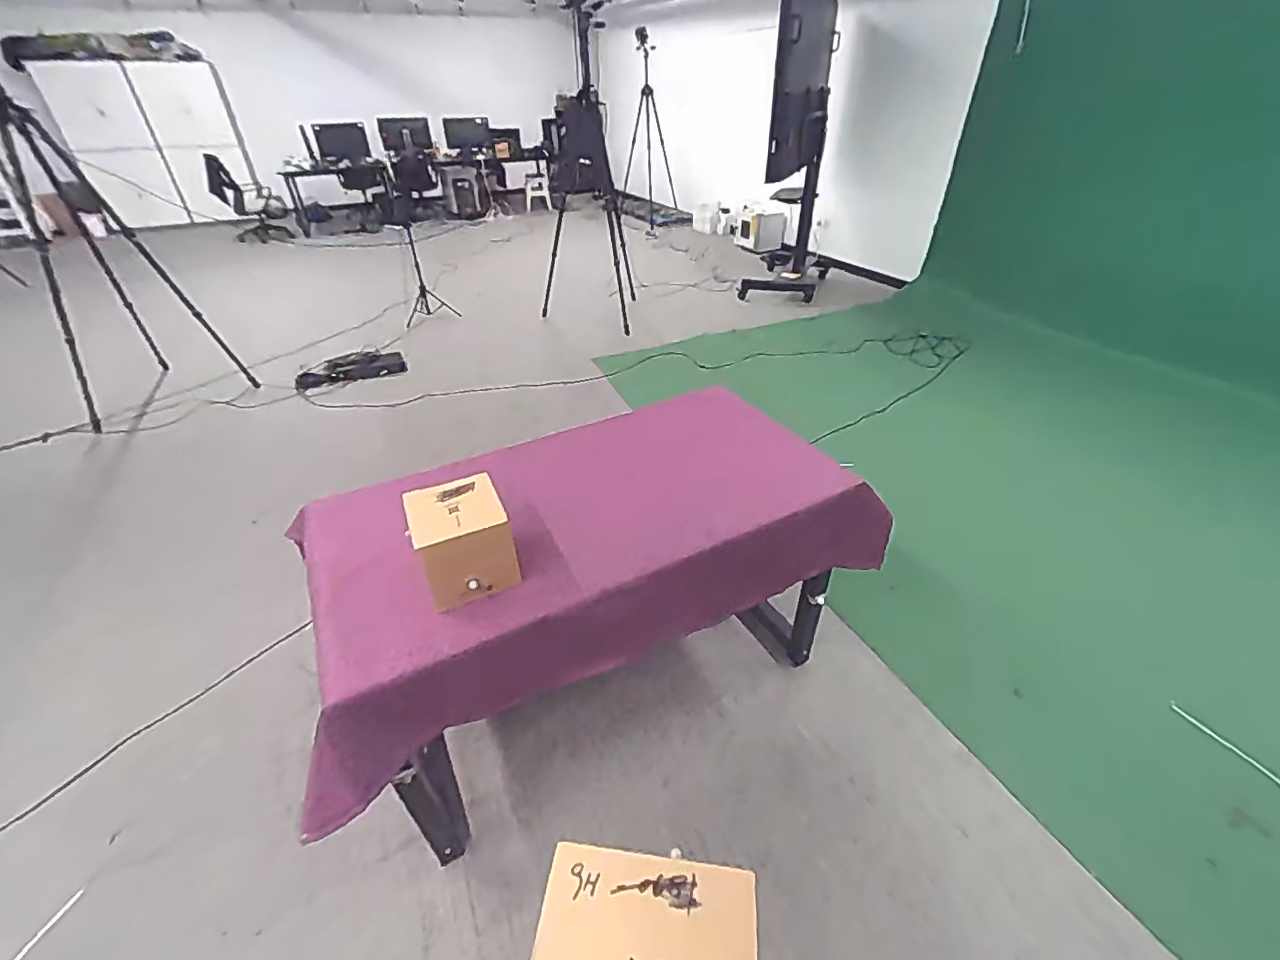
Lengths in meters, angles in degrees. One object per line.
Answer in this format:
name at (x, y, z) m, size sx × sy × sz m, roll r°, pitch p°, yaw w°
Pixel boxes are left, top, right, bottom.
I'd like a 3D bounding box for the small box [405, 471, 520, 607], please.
small box at (-0.343, 0.113, 1.052) m, size 0.168 × 0.176 × 0.179 m, roll -17°, pitch 40°, yaw -20°
